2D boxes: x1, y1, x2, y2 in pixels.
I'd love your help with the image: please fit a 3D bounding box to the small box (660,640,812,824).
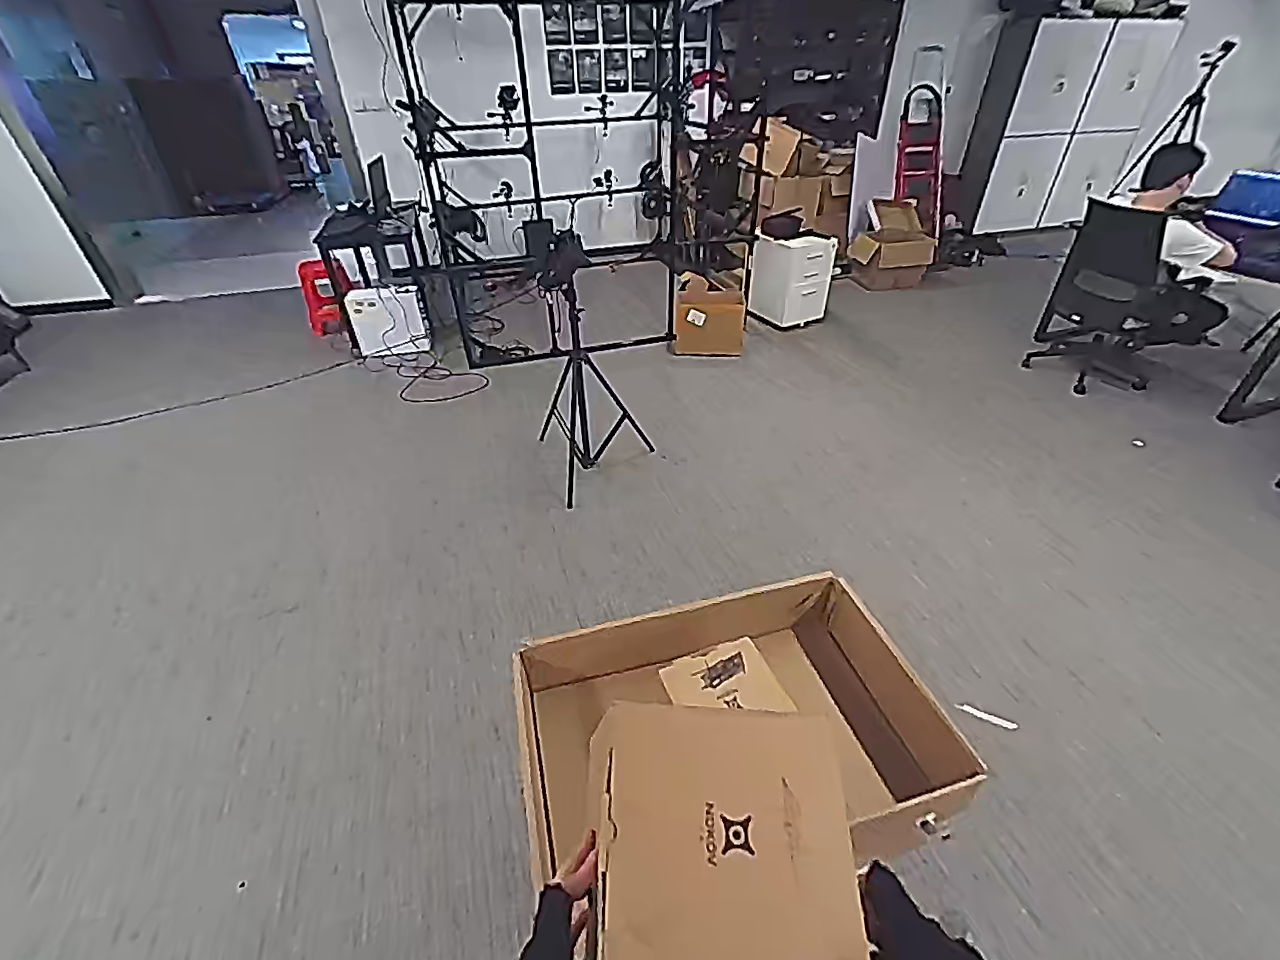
[{"bbox_3d":[0.136,0.390,0.845,0.168,0.176,0.179,-15,40,-18],"label":"small box"}]
